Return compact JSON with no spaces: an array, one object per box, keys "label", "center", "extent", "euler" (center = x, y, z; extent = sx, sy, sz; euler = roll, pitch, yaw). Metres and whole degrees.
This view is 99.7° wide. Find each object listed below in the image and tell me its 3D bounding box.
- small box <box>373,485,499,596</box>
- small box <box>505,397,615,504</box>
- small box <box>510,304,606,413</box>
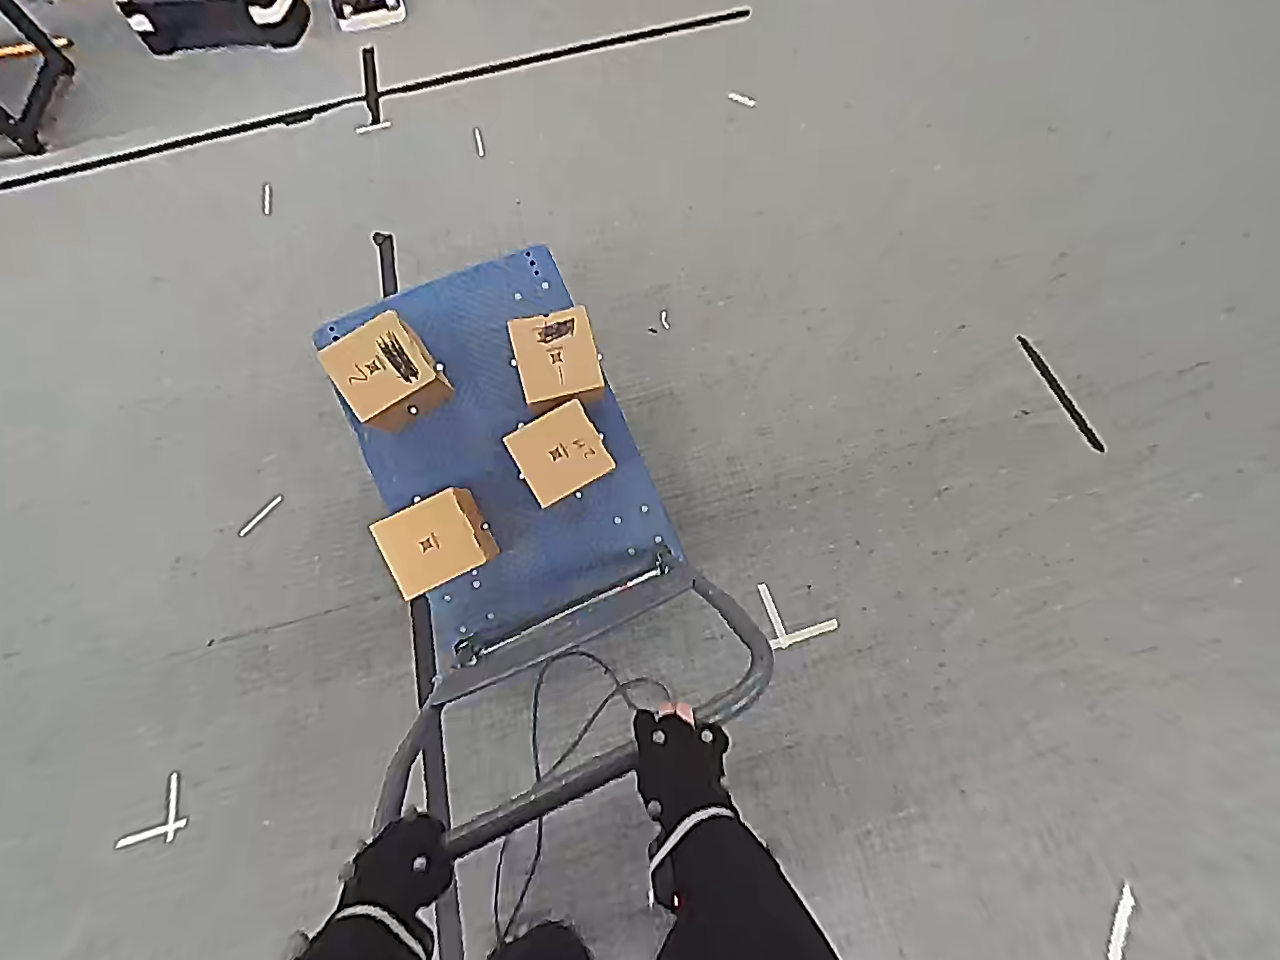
[{"label":"small box","center":[-0.420,0.125,1.146],"extent":[0.179,0.176,0.168],"euler":[-27,90,-7]},{"label":"small box","center":[-0.167,-0.056,1.178],"extent":[0.179,0.176,0.168],"euler":[-30,91,-6]},{"label":"small box","center":[-0.177,-0.259,1.187],"extent":[0.168,0.176,0.179],"euler":[-14,89,-5]}]
